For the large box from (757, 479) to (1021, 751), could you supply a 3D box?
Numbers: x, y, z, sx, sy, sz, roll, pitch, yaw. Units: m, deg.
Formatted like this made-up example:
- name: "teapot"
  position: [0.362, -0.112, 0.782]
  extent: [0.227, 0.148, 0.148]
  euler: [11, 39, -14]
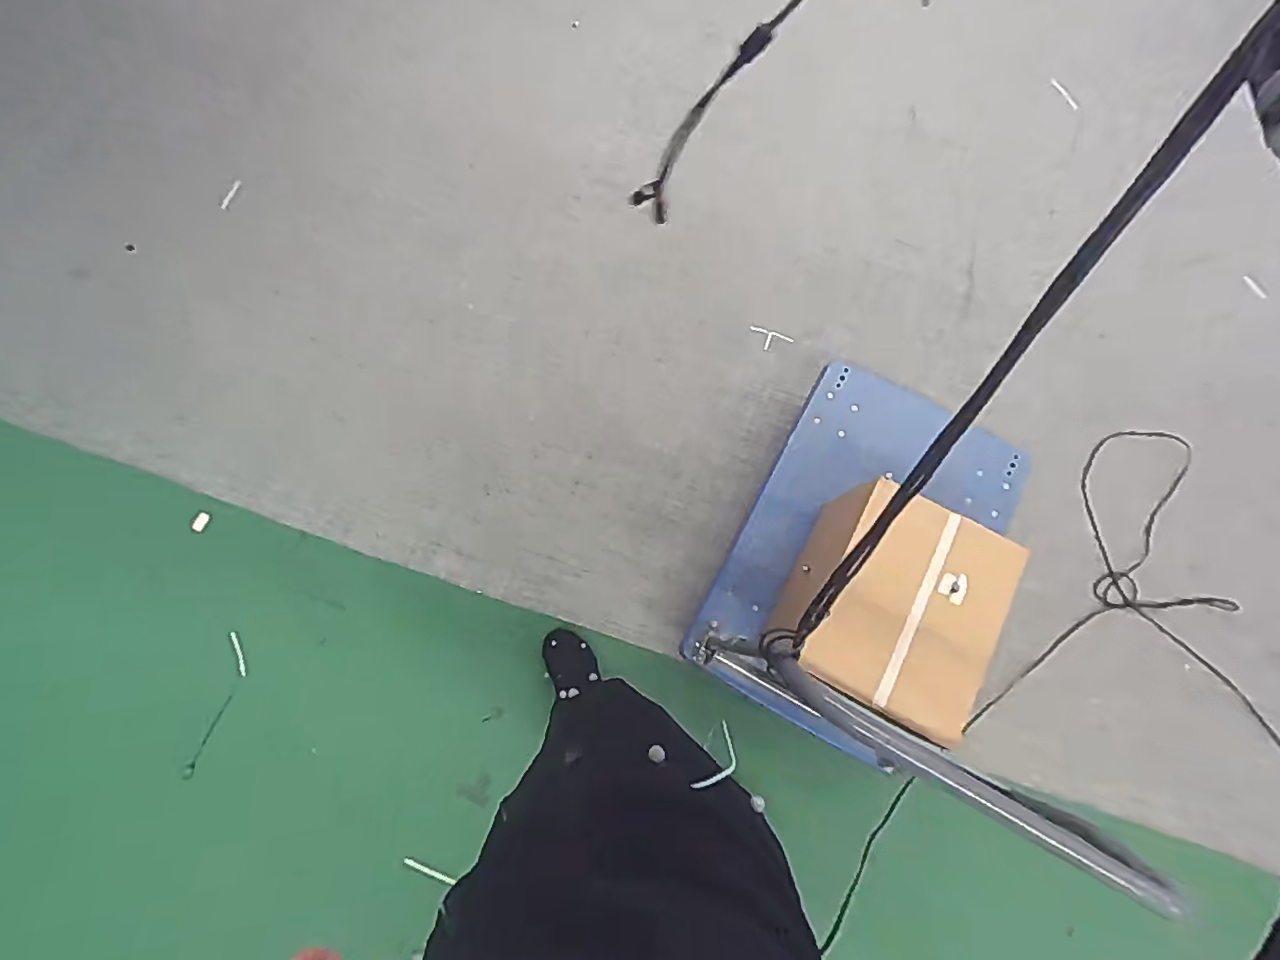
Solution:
- name: "large box"
  position: [0.492, 0.271, 1.136]
  extent: [0.320, 0.320, 0.408]
  euler: [29, 78, 5]
